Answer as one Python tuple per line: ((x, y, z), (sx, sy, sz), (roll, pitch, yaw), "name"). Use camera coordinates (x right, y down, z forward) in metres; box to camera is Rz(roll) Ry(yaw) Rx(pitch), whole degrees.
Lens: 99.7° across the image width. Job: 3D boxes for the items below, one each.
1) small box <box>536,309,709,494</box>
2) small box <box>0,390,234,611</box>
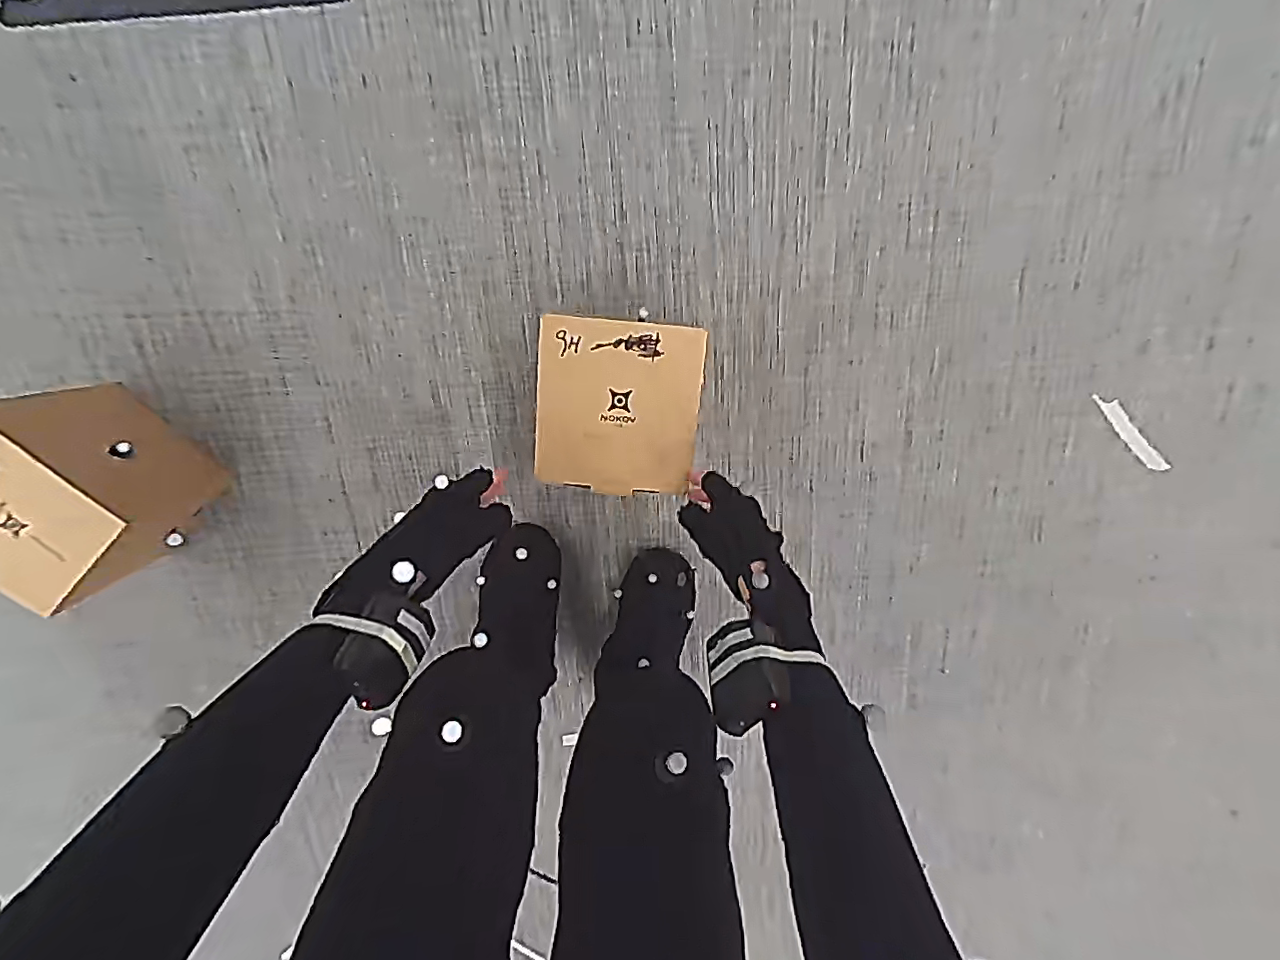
((-0.023, -0.098, 0.626), (0.168, 0.176, 0.179), (4, 108, -4), "small box")
((-0.646, 0.011, 0.634), (0.168, 0.176, 0.179), (-42, 105, 11), "small box")
